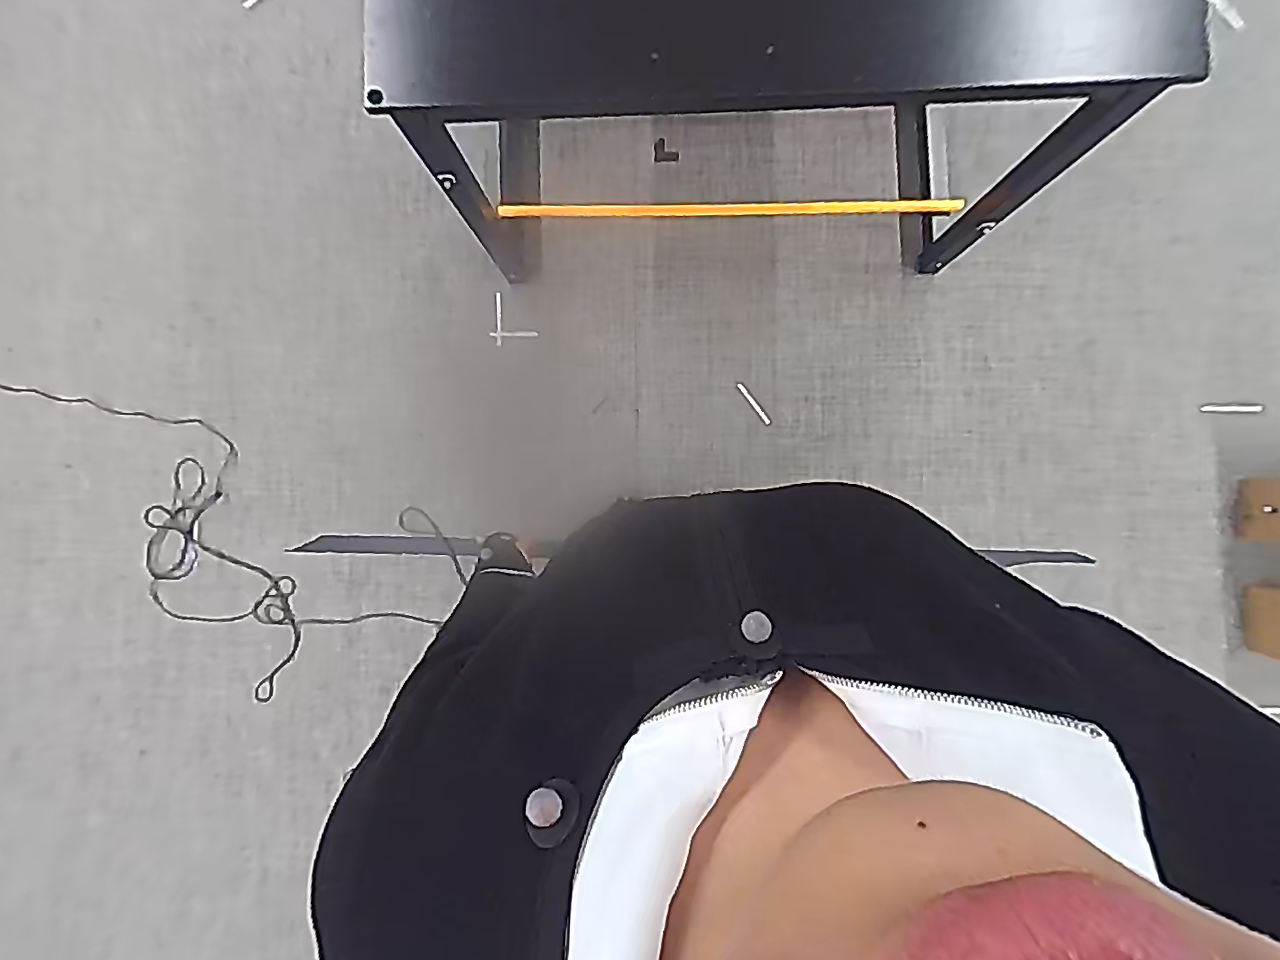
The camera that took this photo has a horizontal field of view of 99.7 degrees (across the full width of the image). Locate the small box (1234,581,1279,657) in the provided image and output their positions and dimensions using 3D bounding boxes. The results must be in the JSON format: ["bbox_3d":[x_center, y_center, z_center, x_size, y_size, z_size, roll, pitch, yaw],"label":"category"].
[{"bbox_3d":[1.675,0.359,1.371,0.168,0.176,0.179,-1,89,2],"label":"small box"}]

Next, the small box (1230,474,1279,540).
[{"bbox_3d":[1.671,0.072,1.375,0.179,0.176,0.168,2,89,3],"label":"small box"}]
